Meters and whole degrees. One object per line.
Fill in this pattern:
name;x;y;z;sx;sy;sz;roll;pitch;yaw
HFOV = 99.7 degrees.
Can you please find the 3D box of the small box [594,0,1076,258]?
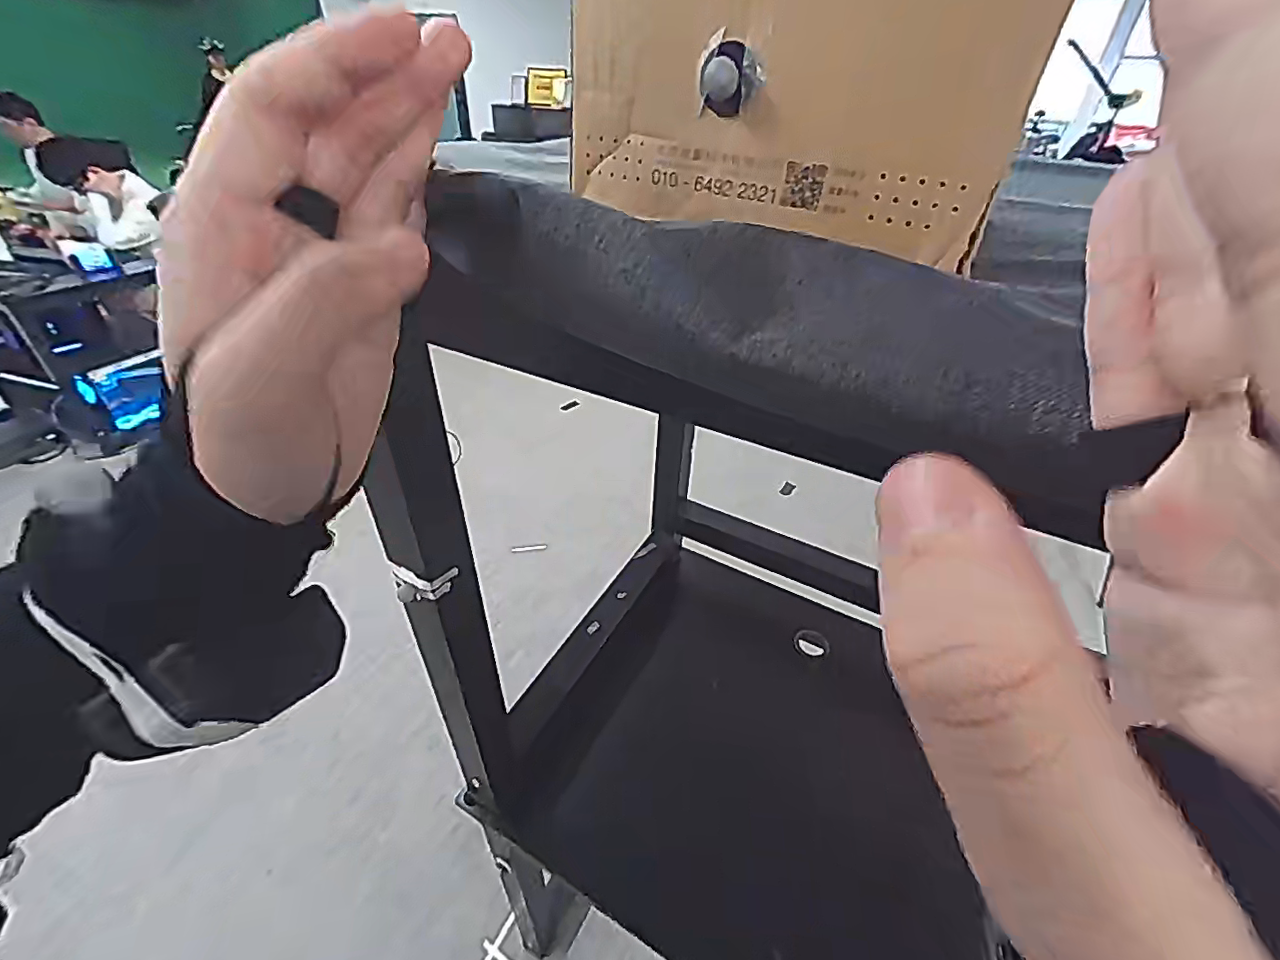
small box;0.088;-0.209;0.229;0.168;0.176;0.179;21;39;20
